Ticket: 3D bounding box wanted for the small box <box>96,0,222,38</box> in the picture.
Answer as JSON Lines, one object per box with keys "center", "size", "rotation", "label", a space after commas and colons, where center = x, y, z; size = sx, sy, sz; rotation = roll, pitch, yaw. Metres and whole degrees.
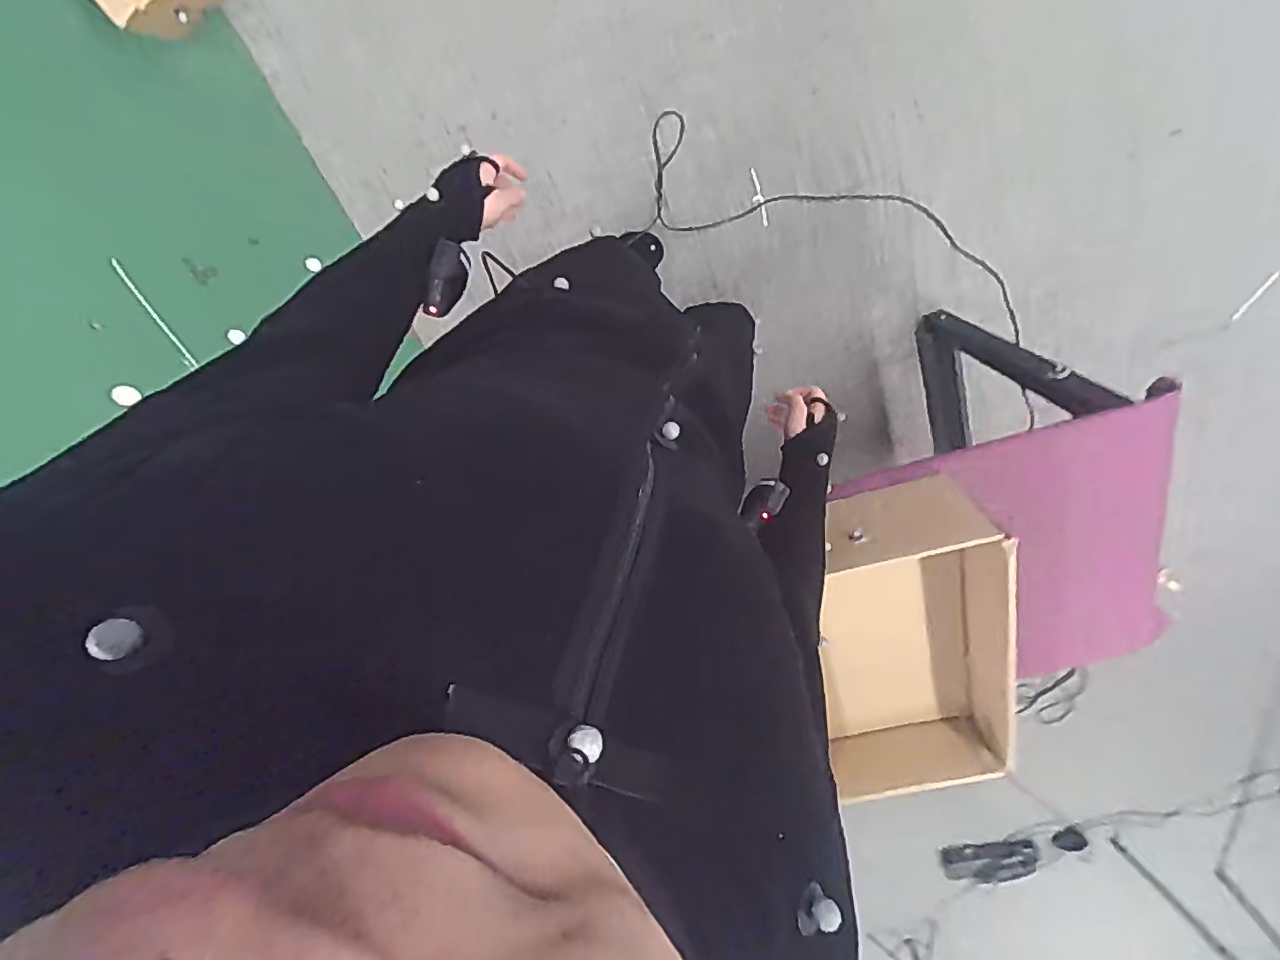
{"center": [-0.995, -1.025, 1.075], "size": [0.168, 0.176, 0.179], "rotation": [-28, 117, 15], "label": "small box"}
